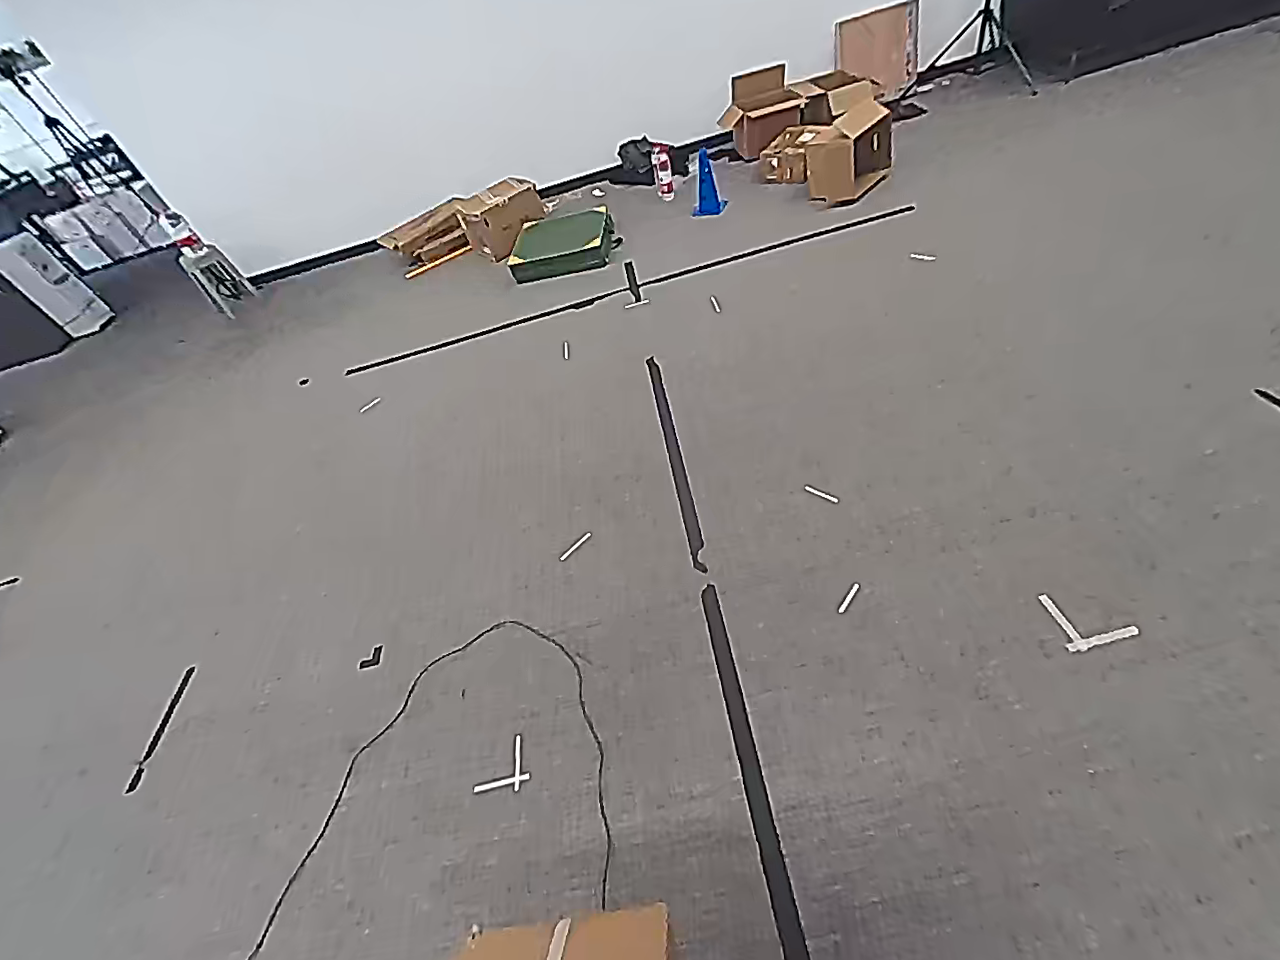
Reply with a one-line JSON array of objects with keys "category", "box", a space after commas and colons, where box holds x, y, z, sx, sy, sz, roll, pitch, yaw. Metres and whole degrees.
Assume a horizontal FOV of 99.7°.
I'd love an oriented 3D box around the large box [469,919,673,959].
[{"category": "large box", "box": [-0.091, 0.816, 0.602, 0.320, 0.408, 0.320, -12, 85, 4]}]
